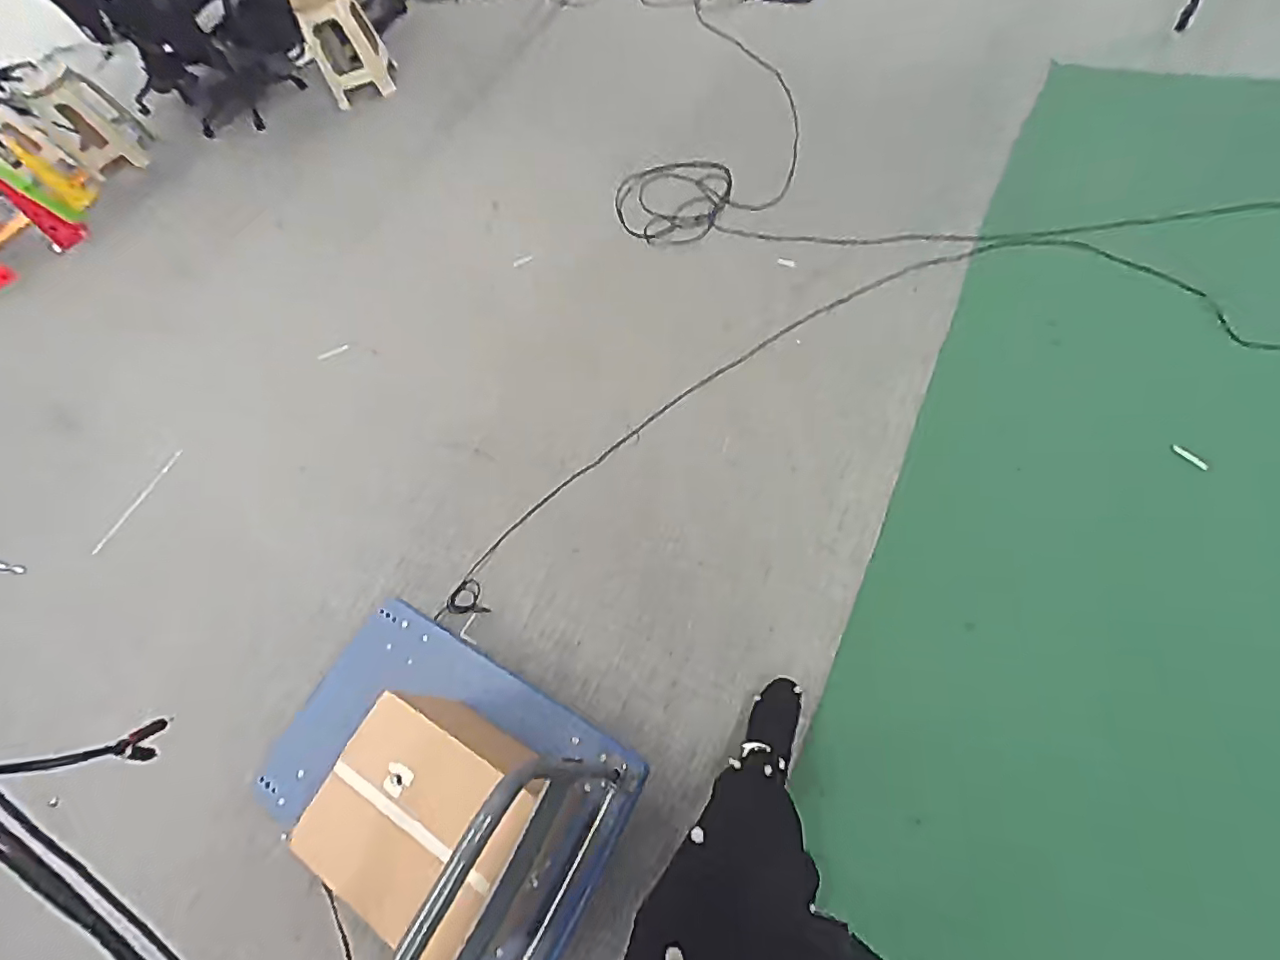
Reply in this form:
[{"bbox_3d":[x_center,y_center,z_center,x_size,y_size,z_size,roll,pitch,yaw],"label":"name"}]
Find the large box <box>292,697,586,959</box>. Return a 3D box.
[{"bbox_3d":[-0.385,0.700,1.118,0.408,0.320,0.320,23,70,22],"label":"large box"}]
